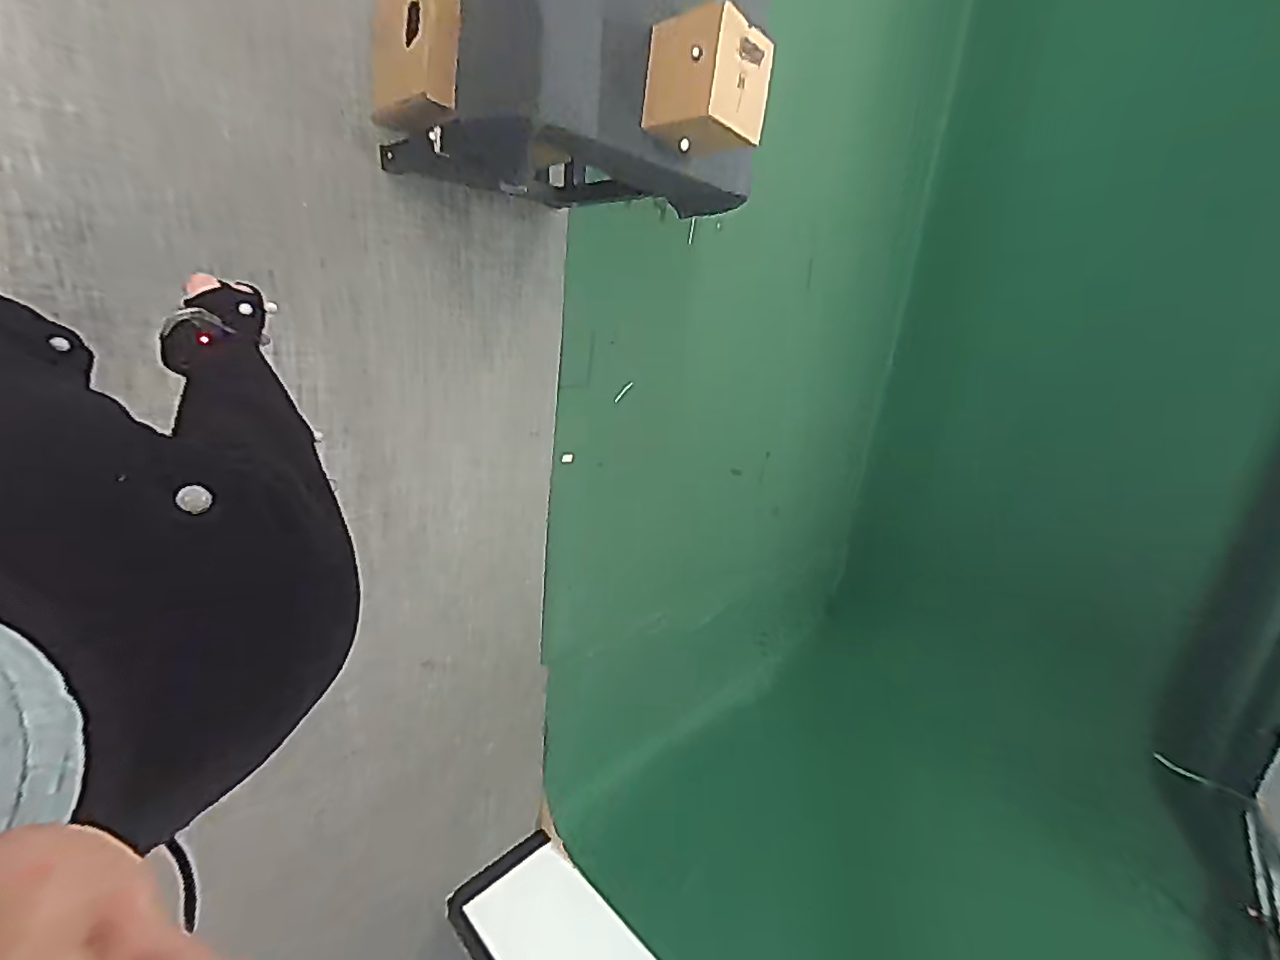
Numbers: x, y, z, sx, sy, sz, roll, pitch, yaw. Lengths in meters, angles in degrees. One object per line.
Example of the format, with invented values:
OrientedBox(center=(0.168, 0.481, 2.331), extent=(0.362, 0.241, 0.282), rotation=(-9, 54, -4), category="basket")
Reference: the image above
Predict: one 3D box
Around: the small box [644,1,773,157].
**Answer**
OrientedBox(center=(0.127, -0.742, 1.027), extent=(0.168, 0.176, 0.179), rotation=(-7, 111, -46), category="small box")
